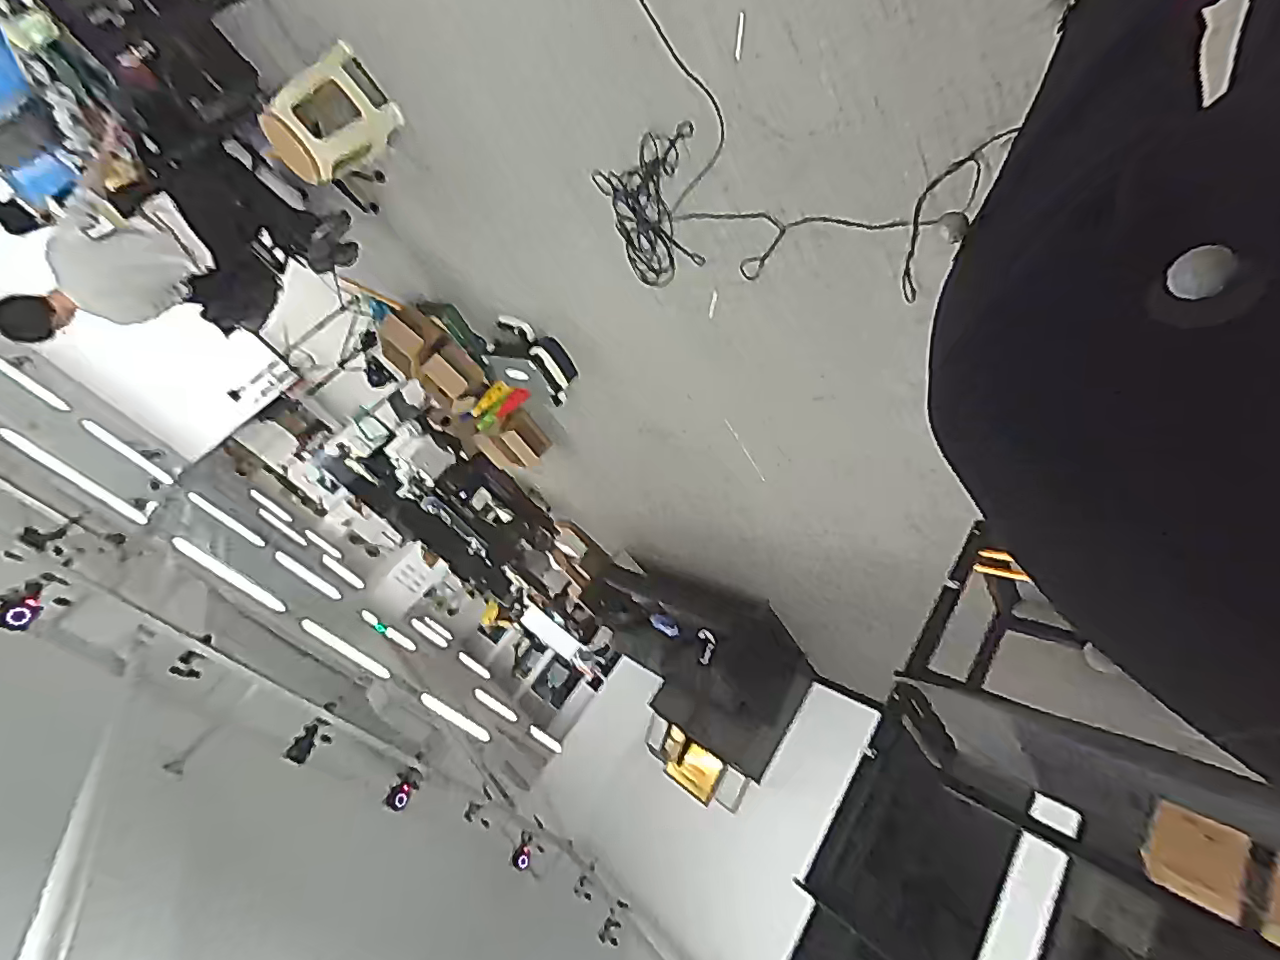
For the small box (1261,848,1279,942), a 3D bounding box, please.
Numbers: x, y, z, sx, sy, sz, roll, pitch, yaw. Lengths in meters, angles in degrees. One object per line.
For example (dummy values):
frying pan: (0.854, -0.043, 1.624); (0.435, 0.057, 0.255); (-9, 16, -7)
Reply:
small box: (1.540, 0.977, 1.214); (0.168, 0.176, 0.179); (10, 146, 52)
